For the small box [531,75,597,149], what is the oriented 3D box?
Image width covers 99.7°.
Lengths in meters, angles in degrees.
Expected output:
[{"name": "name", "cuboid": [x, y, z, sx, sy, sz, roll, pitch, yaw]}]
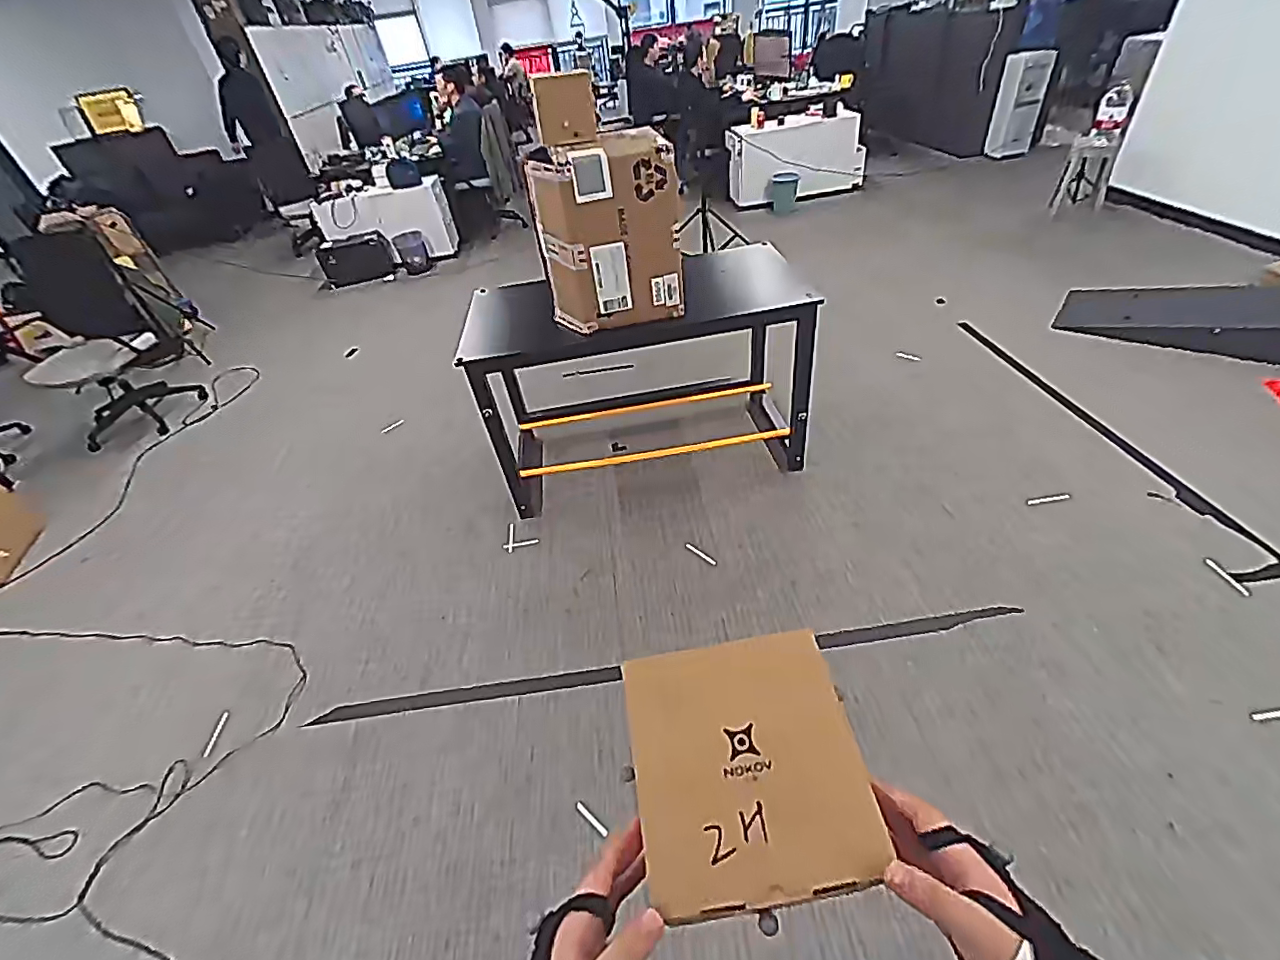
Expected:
[{"name": "small box", "cuboid": [-0.229, -1.106, 1.625, 0.168, 0.176, 0.179, -11, 39, -6]}]

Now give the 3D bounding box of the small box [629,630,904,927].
[{"name": "small box", "cuboid": [0.088, 0.256, 0.462, 0.168, 0.176, 0.179, -10, 49, 0]}]
